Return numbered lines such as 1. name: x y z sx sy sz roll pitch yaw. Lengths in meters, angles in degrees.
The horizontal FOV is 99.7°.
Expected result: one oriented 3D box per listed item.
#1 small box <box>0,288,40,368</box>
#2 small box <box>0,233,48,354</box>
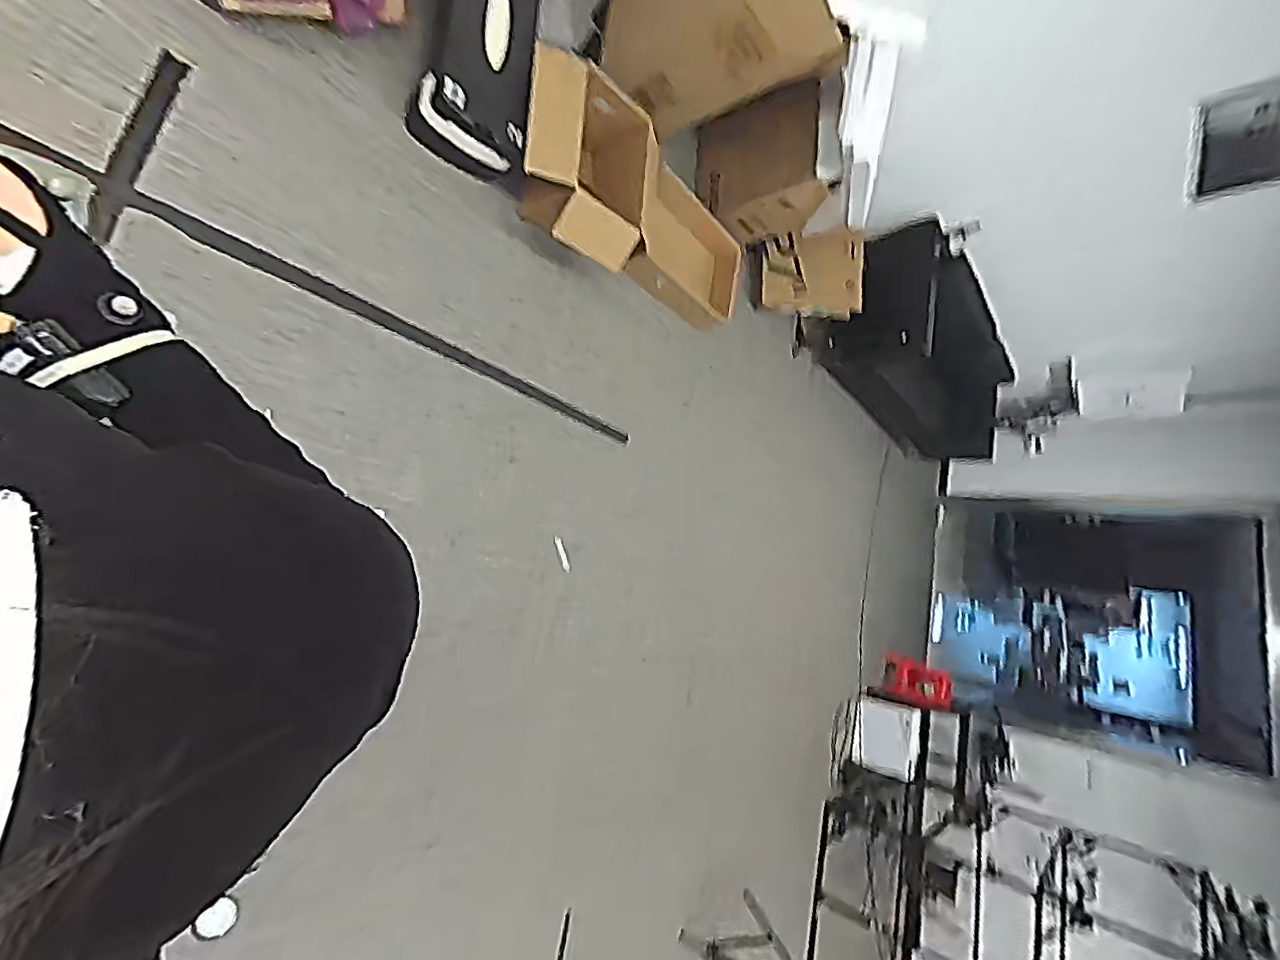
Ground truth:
1. small box: -1.155 -0.287 0.893 0.179 0.176 0.168 30 69 -46
2. small box: -1.026 -0.287 0.791 0.168 0.176 0.179 29 70 -45
